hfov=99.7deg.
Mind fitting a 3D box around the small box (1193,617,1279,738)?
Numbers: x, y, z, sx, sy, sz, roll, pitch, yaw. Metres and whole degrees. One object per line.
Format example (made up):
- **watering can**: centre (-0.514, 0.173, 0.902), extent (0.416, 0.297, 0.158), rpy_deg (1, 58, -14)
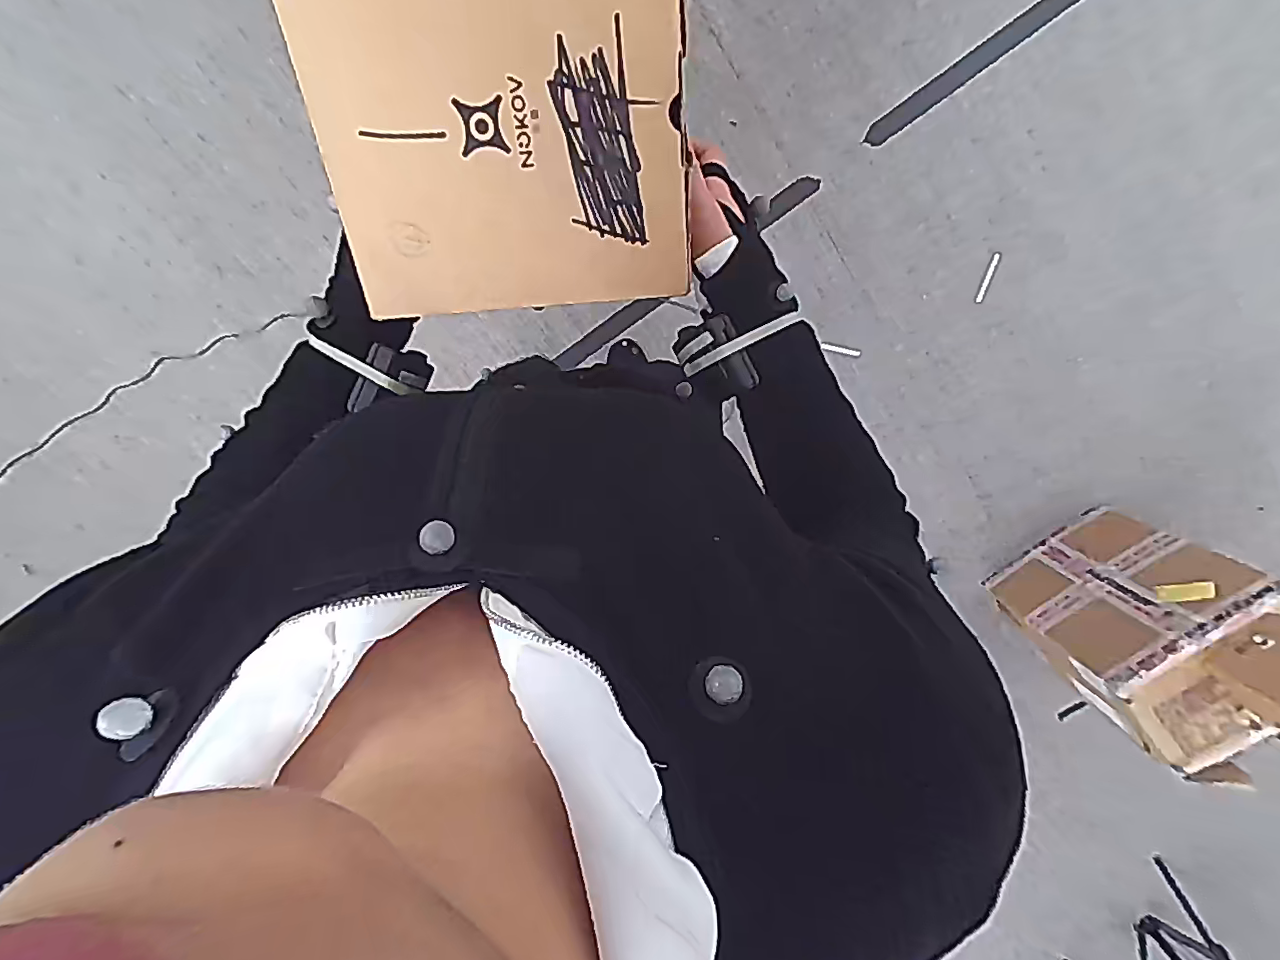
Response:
- **small box**: centre (1.292, 0.409, 1.076), extent (0.179, 0.176, 0.168), rpy_deg (42, 100, -8)
